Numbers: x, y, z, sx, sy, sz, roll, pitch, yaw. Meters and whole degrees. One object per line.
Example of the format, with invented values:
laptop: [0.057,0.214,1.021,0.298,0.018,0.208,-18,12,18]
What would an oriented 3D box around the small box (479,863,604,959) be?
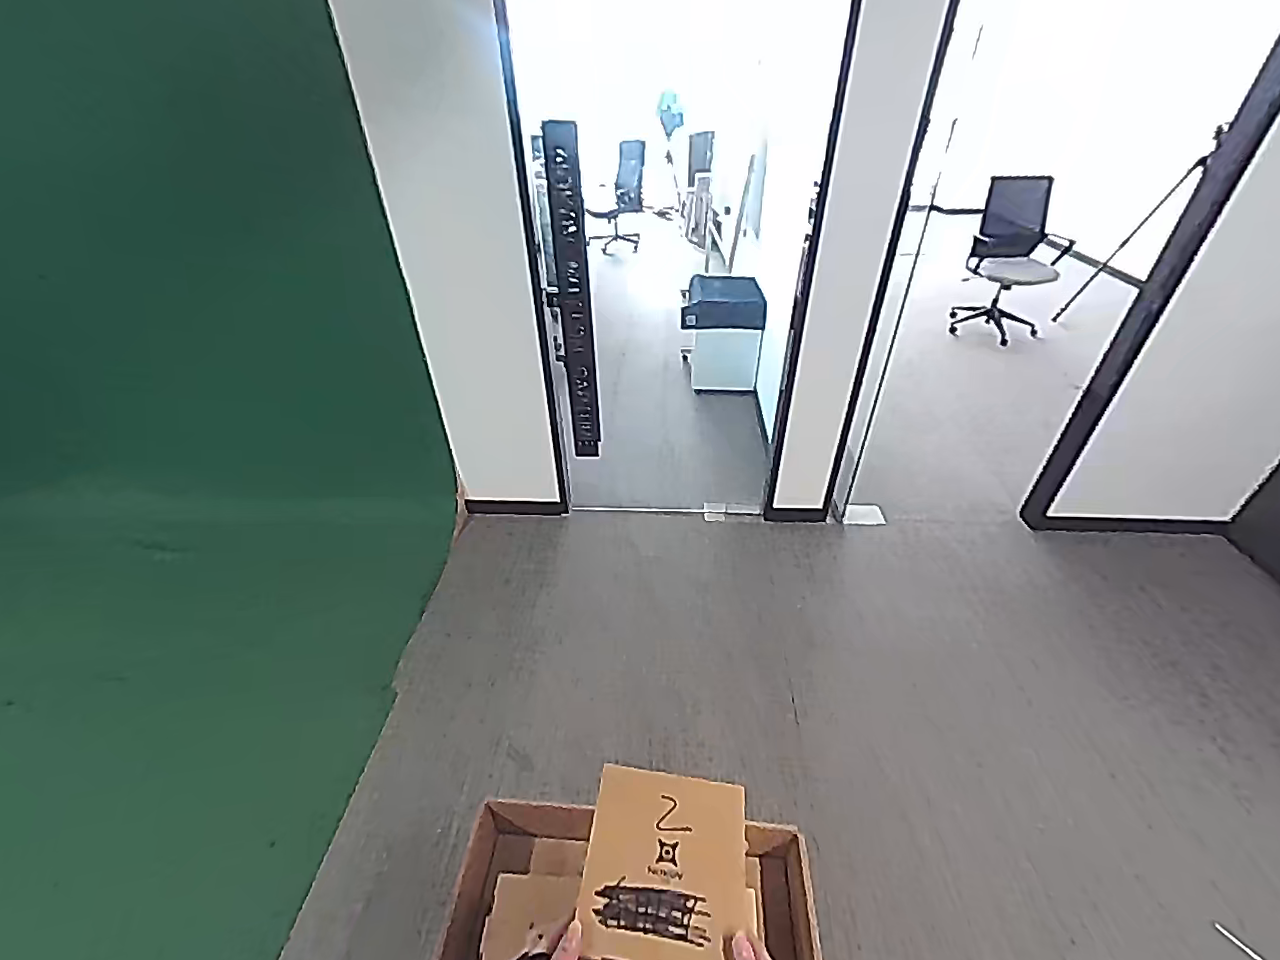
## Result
small box: [-0.159,0.778,0.913,0.179,0.176,0.168,3,38,3]
